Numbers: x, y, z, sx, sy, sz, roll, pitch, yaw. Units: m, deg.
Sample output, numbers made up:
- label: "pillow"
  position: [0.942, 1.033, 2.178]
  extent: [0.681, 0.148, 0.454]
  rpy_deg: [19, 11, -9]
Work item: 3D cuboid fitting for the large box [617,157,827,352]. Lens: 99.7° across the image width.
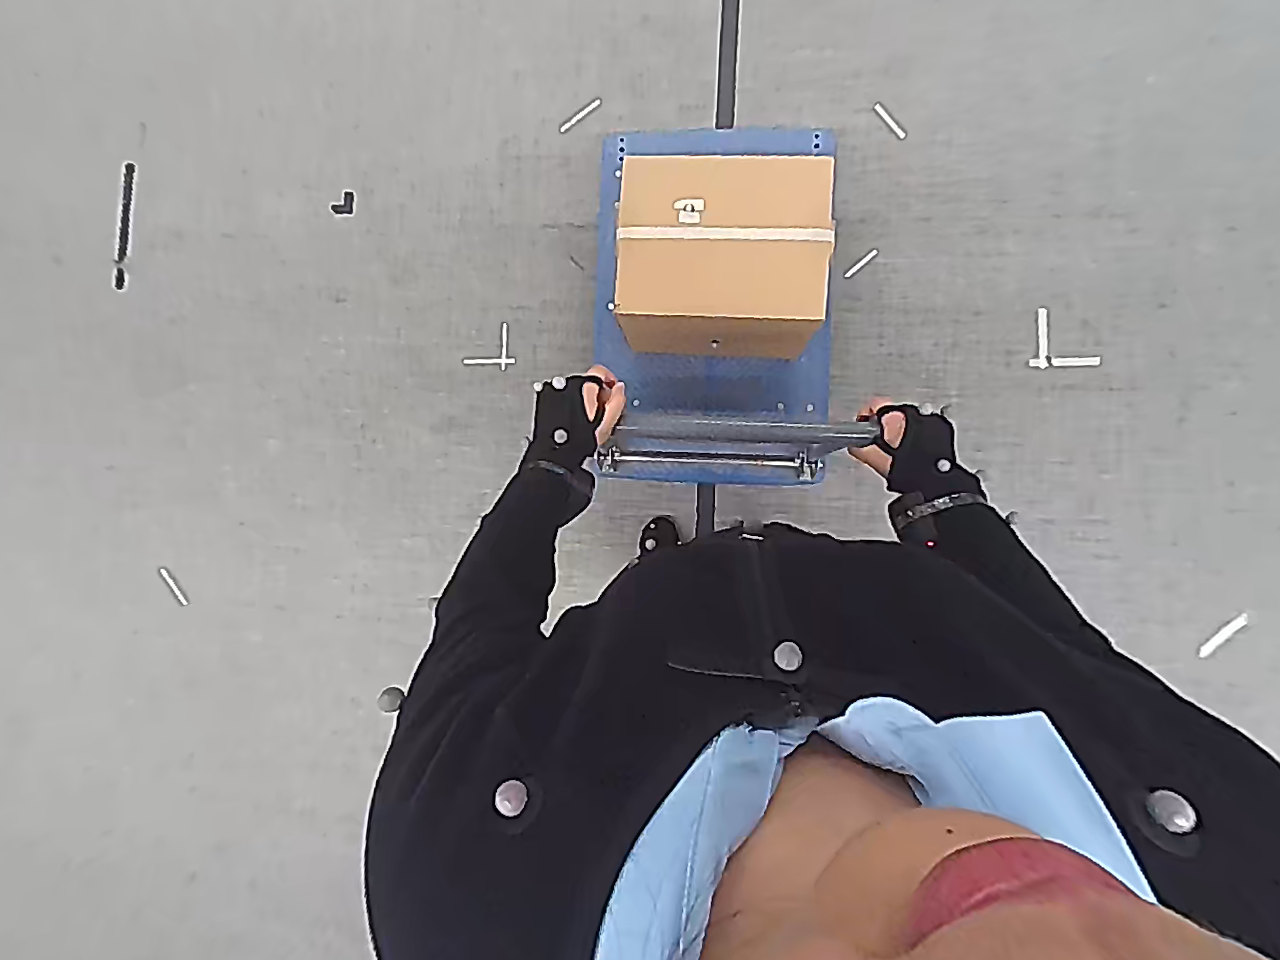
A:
- label: "large box"
  position: [0.177, -0.472, 1.204]
  extent: [0.408, 0.320, 0.320]
  rpy_deg: [3, 88, 7]
